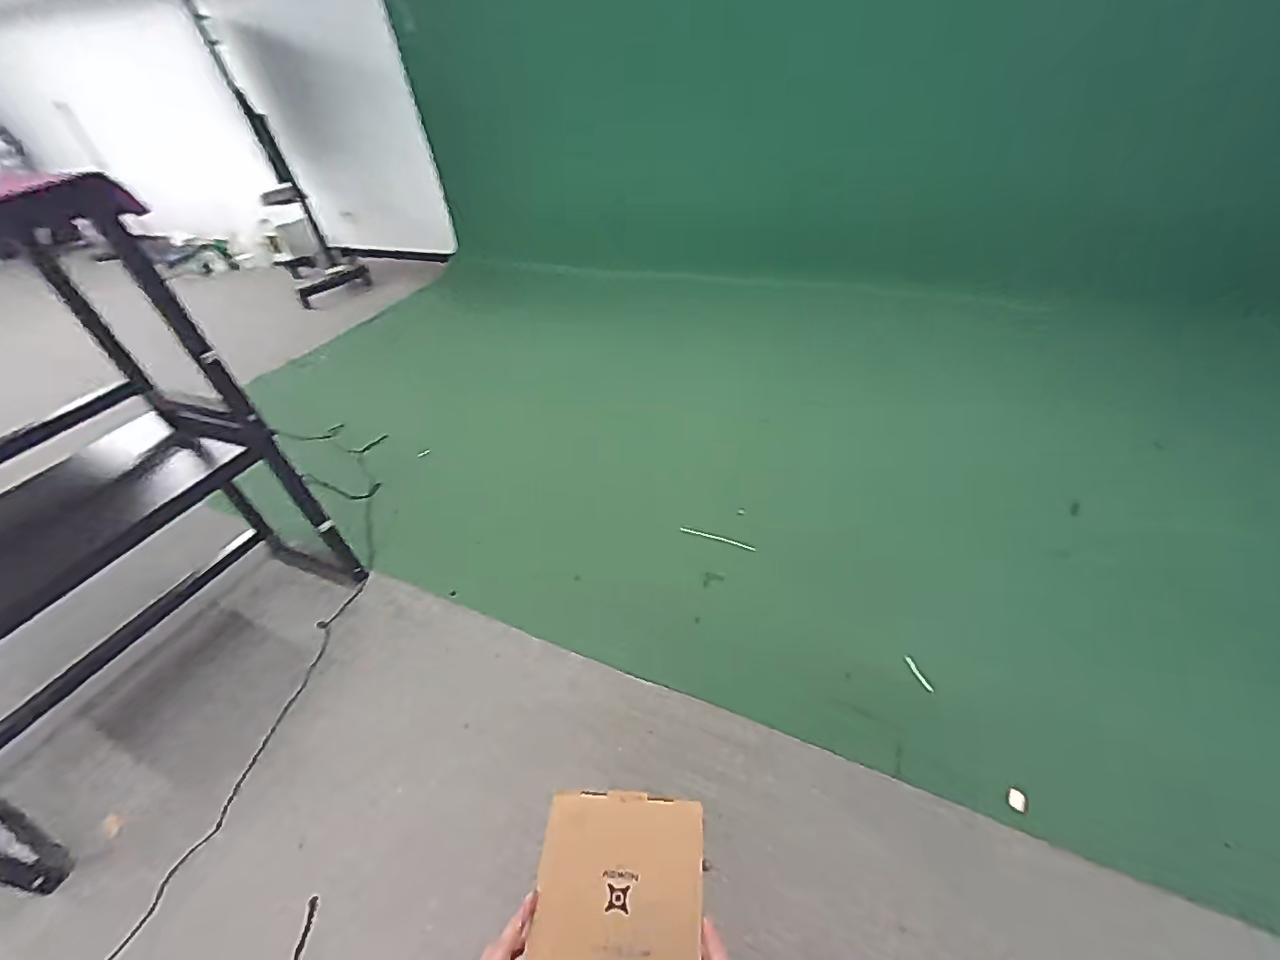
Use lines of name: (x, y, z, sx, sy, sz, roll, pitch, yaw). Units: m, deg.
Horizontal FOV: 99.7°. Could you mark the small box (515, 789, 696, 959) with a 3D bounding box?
small box: (-0.028, 0.462, 0.584, 0.168, 0.176, 0.179, 2, 45, 5)
